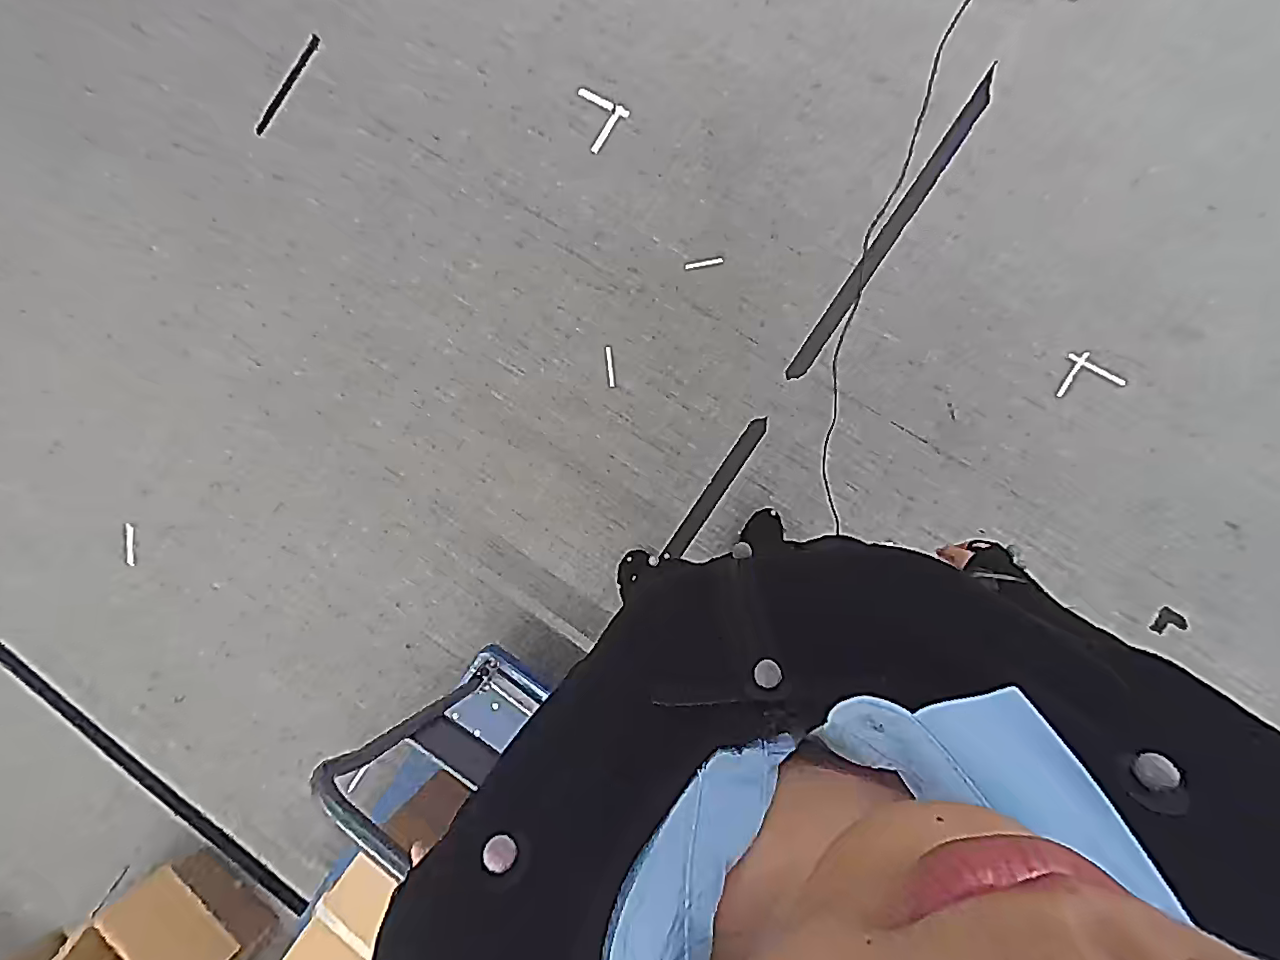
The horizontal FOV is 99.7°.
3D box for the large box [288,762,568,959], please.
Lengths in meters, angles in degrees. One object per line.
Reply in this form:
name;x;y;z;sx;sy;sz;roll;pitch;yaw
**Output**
large box;-0.430;0.919;1.178;0.408;0.320;0.320;35;91;7
